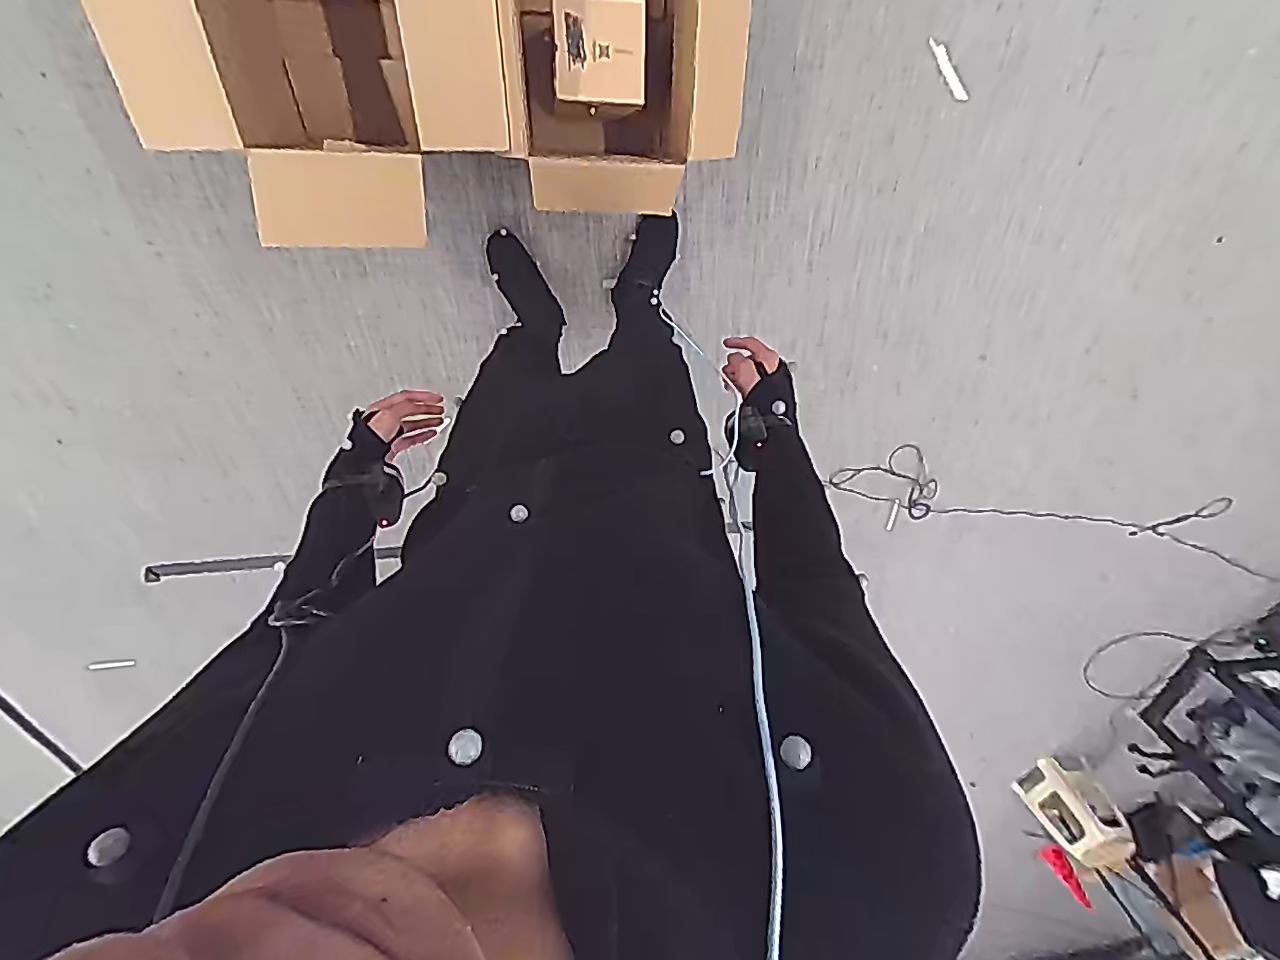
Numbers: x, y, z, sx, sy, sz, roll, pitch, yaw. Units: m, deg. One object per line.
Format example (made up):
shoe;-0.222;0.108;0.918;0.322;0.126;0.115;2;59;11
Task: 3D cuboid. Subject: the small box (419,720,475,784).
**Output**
small box;-0.762;1.073;2.148;0.168;0.176;0.179;-3;125;-6
